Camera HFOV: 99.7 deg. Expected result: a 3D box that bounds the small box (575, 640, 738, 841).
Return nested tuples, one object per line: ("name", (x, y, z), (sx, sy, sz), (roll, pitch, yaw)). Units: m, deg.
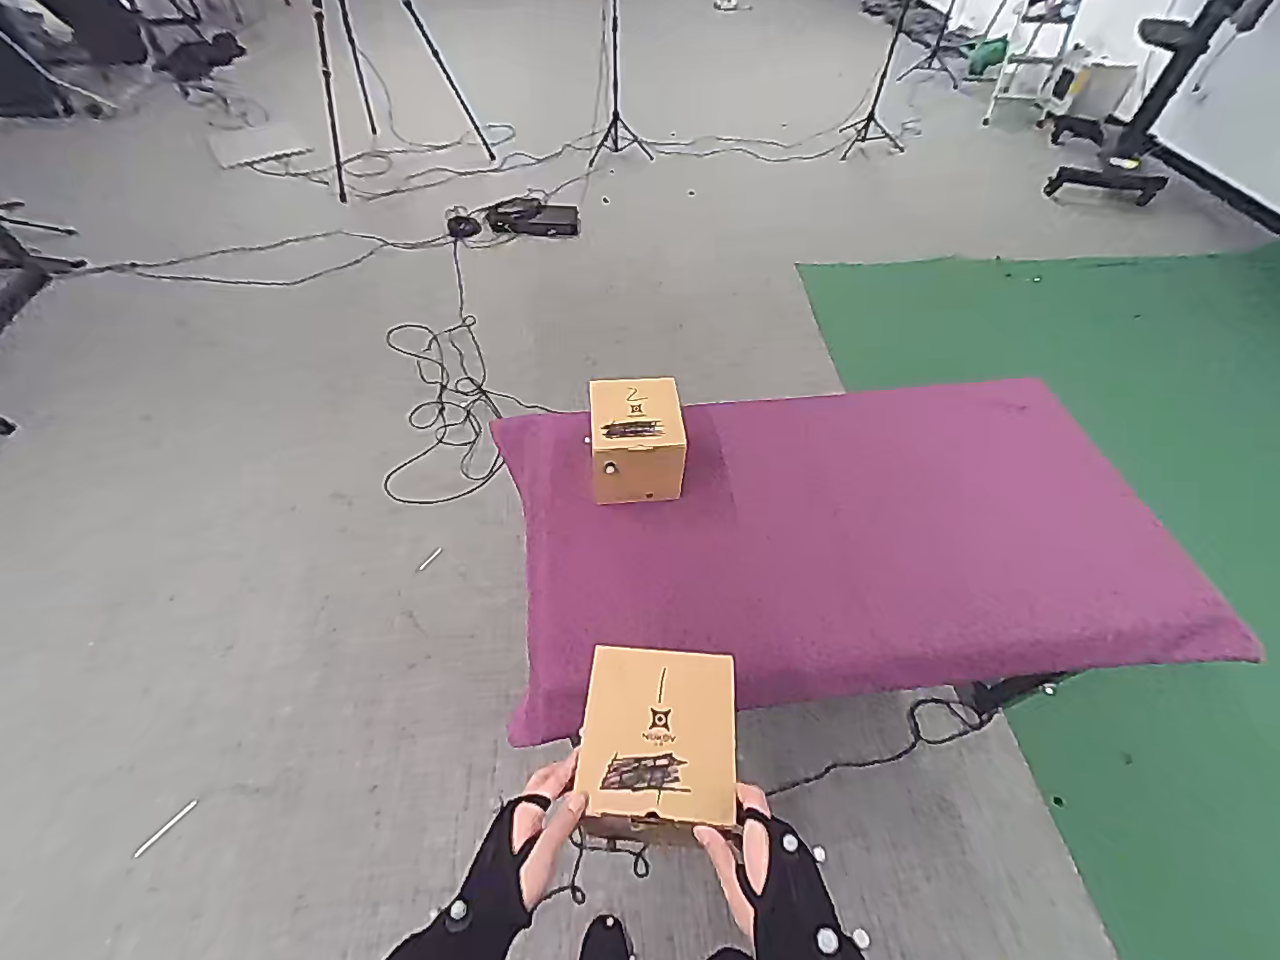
("small box", (0.027, 0.313, 0.644), (0.168, 0.176, 0.179), (3, 49, 5))
